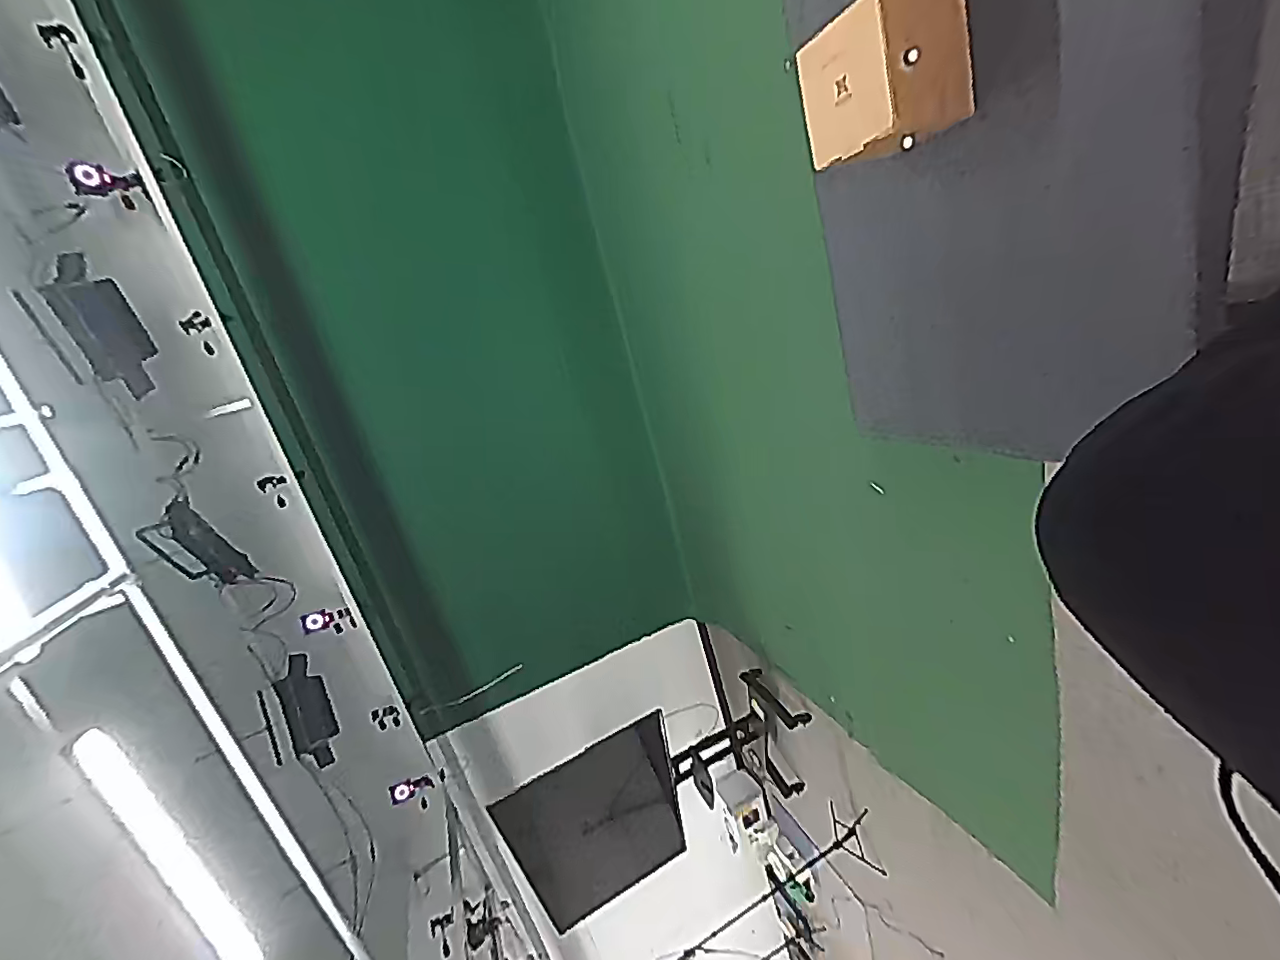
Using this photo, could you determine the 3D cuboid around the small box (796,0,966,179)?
[{"bbox_3d":[0.373,-0.599,0.836,0.168,0.176,0.179,20,127,65],"label":"small box"}]
